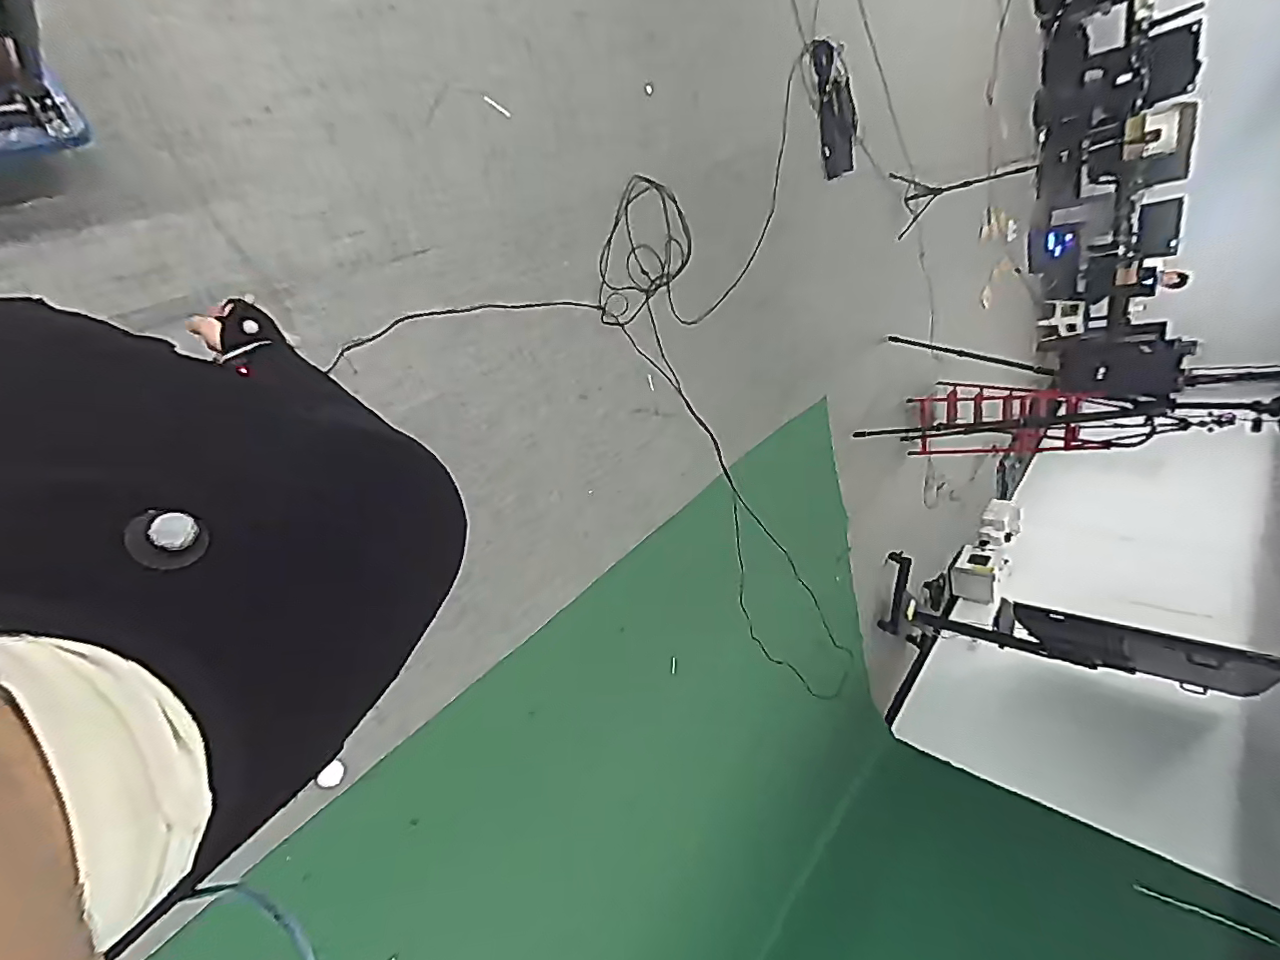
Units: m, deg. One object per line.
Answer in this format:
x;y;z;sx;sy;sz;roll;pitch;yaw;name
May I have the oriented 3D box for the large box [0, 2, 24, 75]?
-1.137;-0.765;0.667;0.320;0.320;0.408;-42;122;-32;large box
